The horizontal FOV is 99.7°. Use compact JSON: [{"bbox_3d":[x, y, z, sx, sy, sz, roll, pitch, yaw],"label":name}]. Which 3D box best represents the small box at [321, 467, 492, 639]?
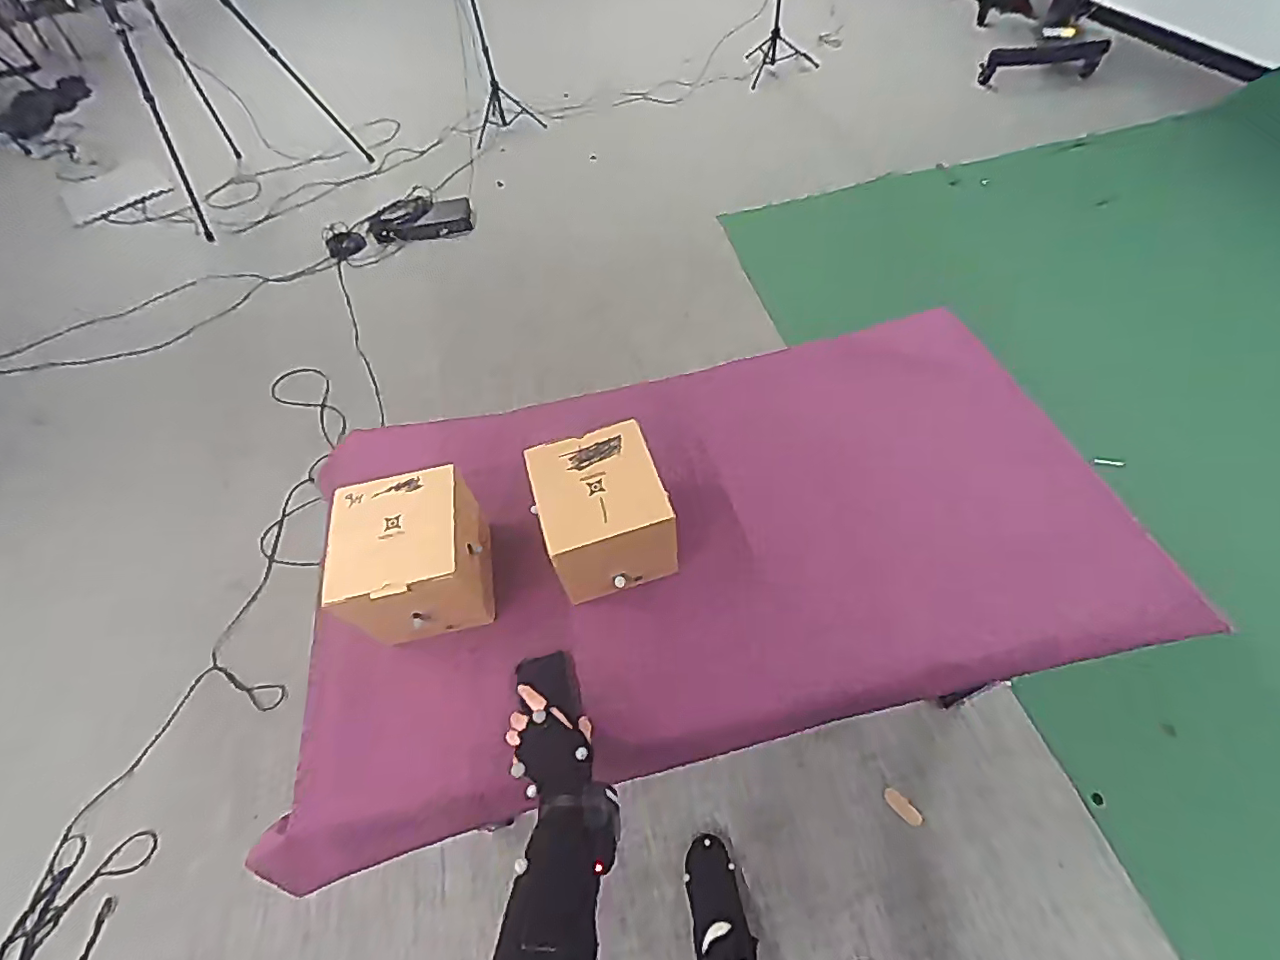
[{"bbox_3d":[-0.315,0.112,0.767,0.168,0.176,0.179,-12,56,-3],"label":"small box"}]

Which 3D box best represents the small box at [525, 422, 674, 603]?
[{"bbox_3d":[-0.055,0.050,0.782,0.168,0.176,0.179,-17,56,-5],"label":"small box"}]
